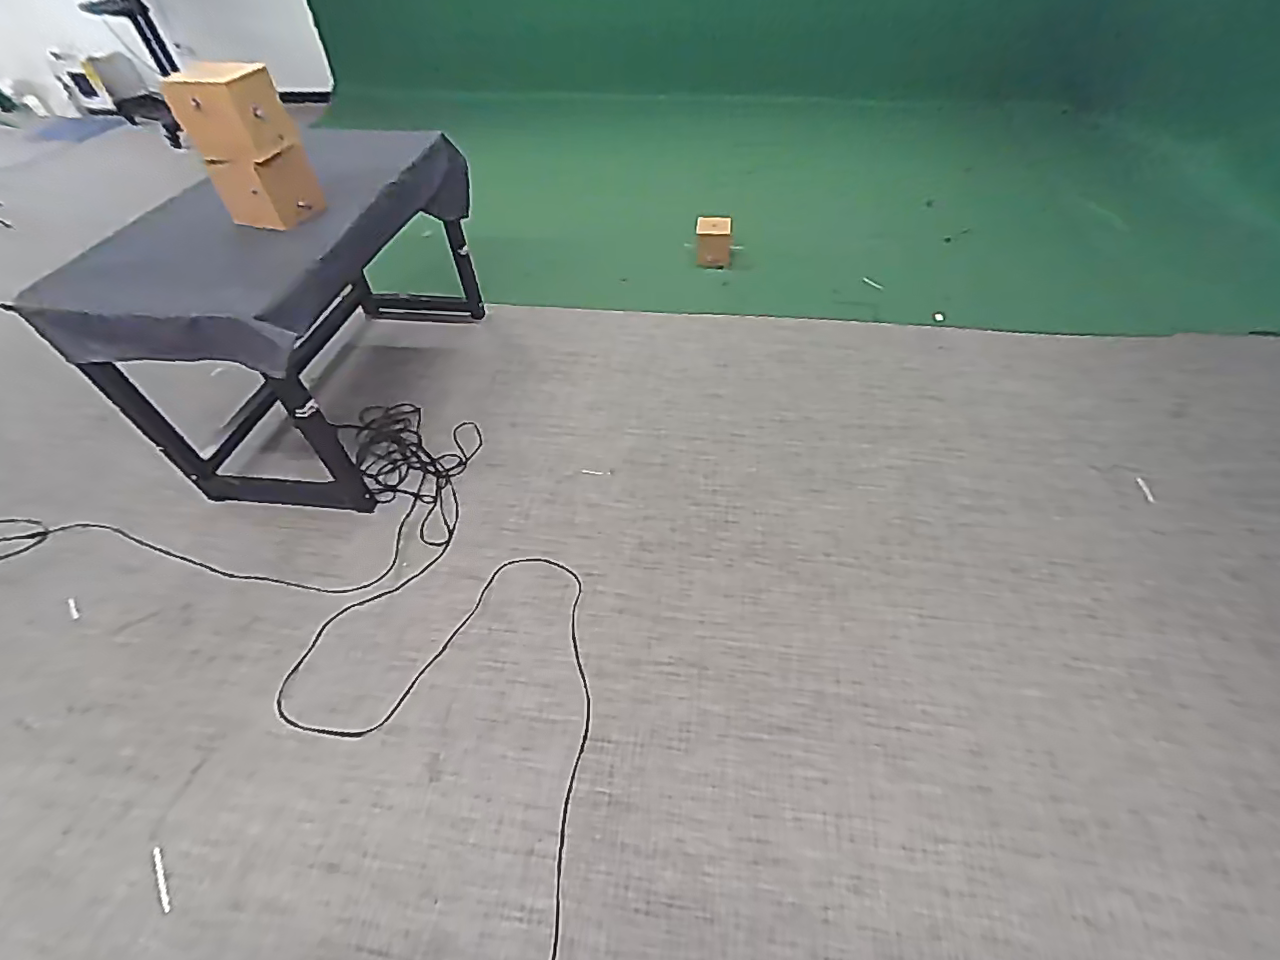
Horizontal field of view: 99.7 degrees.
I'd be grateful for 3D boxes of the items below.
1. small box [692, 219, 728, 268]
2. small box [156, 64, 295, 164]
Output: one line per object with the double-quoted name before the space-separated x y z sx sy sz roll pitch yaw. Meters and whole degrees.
"small box" 0.351 -1.195 2.726 0.168 0.176 0.179 3 50 6
"small box" -1.004 -0.898 1.331 0.179 0.176 0.168 6 50 7
